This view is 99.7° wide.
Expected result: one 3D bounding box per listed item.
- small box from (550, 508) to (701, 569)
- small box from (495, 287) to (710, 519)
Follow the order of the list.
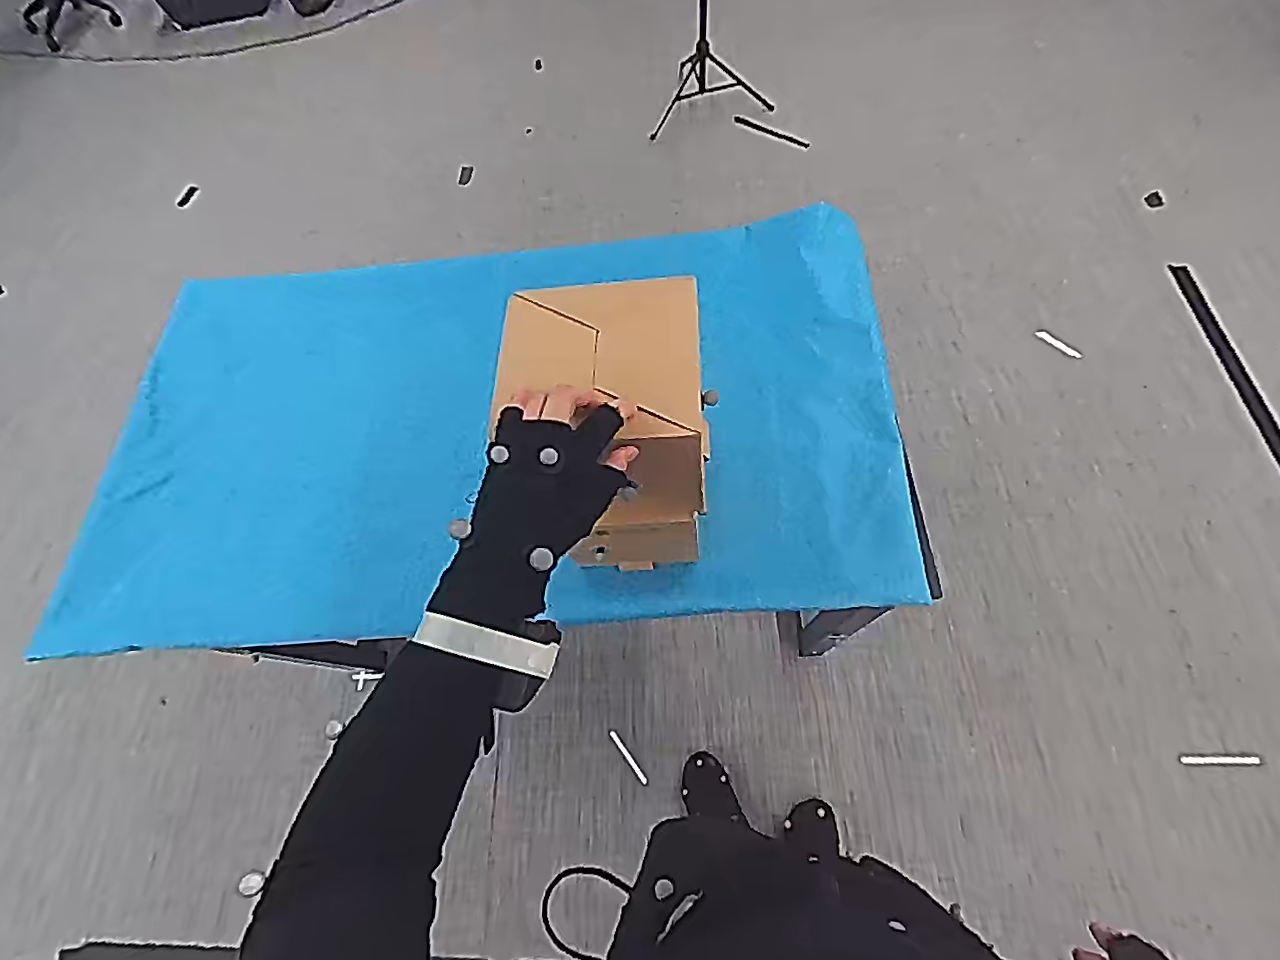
[{"bbox_3d":[-0.012,0.003,0.687,0.168,0.176,0.179,-4,65,6],"label":"small box"},{"bbox_3d":[-0.025,-0.069,0.542,0.179,0.176,0.168,-3,64,8],"label":"small box"}]
